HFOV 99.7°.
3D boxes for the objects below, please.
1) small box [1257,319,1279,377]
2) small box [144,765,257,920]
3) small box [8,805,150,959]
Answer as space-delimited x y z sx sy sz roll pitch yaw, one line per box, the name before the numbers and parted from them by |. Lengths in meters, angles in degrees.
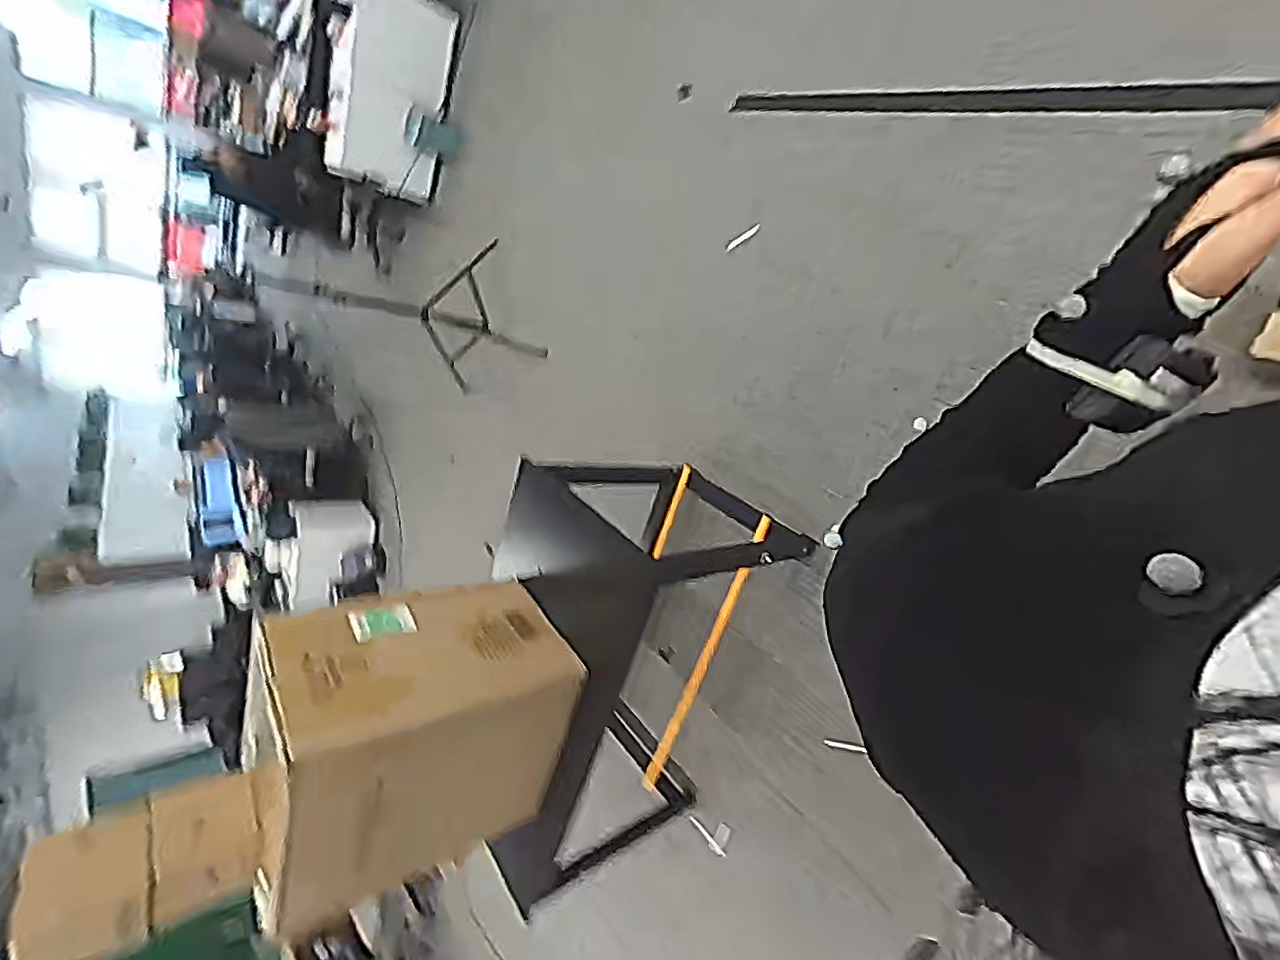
small box | 1.162 -0.242 0.874 0.179 0.176 0.168 32 114 41
small box | -0.909 0.735 1.118 0.179 0.176 0.168 36 114 41
small box | -1.022 0.740 0.999 0.179 0.176 0.168 35 115 42
